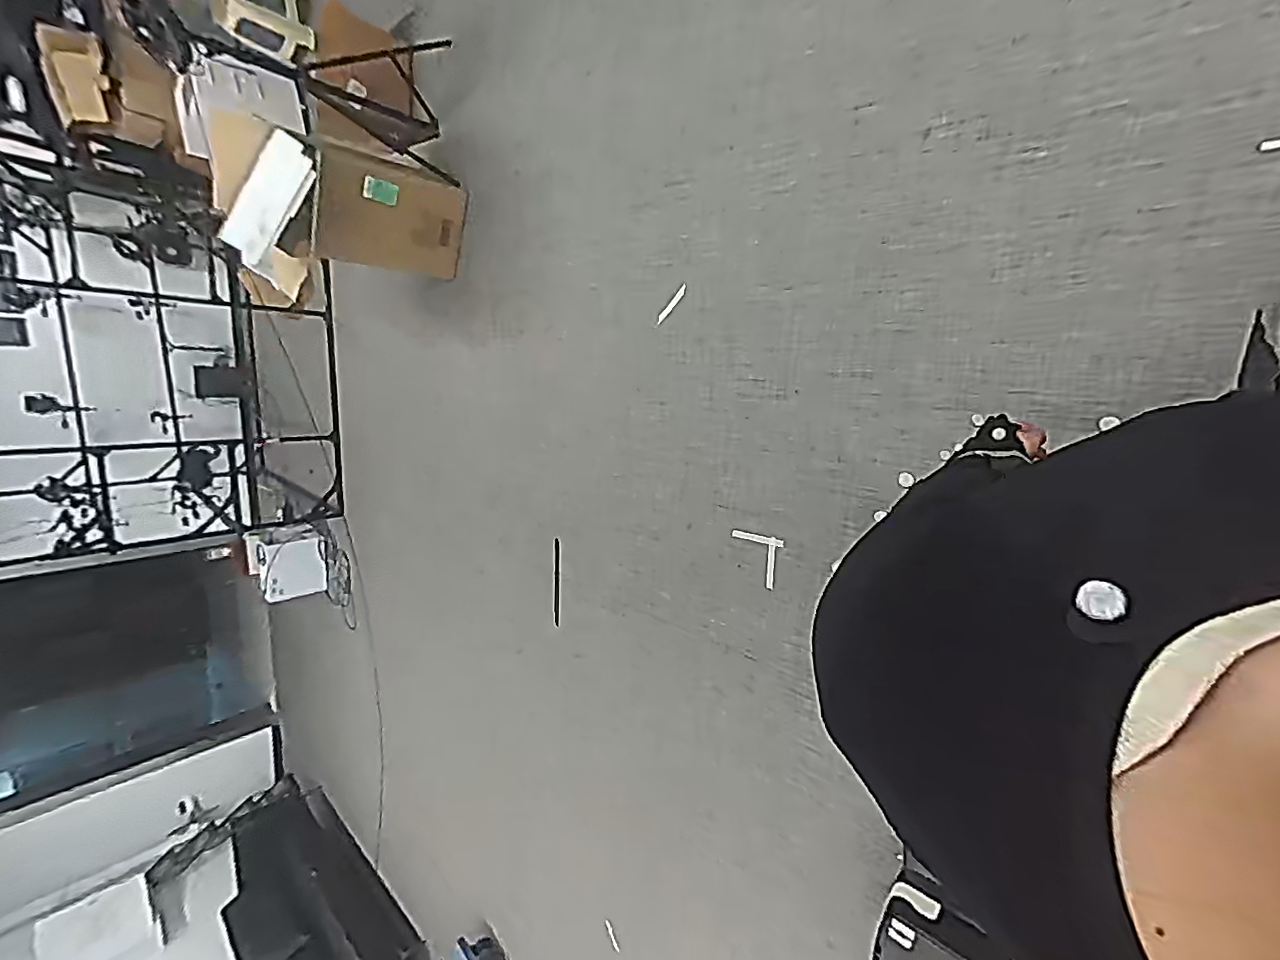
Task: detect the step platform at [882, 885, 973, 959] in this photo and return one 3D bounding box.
[{"bbox_3d":[0.861,1.234,1.120,0.684,0.204,0.286,20,108,42],"label":"step platform"}]
